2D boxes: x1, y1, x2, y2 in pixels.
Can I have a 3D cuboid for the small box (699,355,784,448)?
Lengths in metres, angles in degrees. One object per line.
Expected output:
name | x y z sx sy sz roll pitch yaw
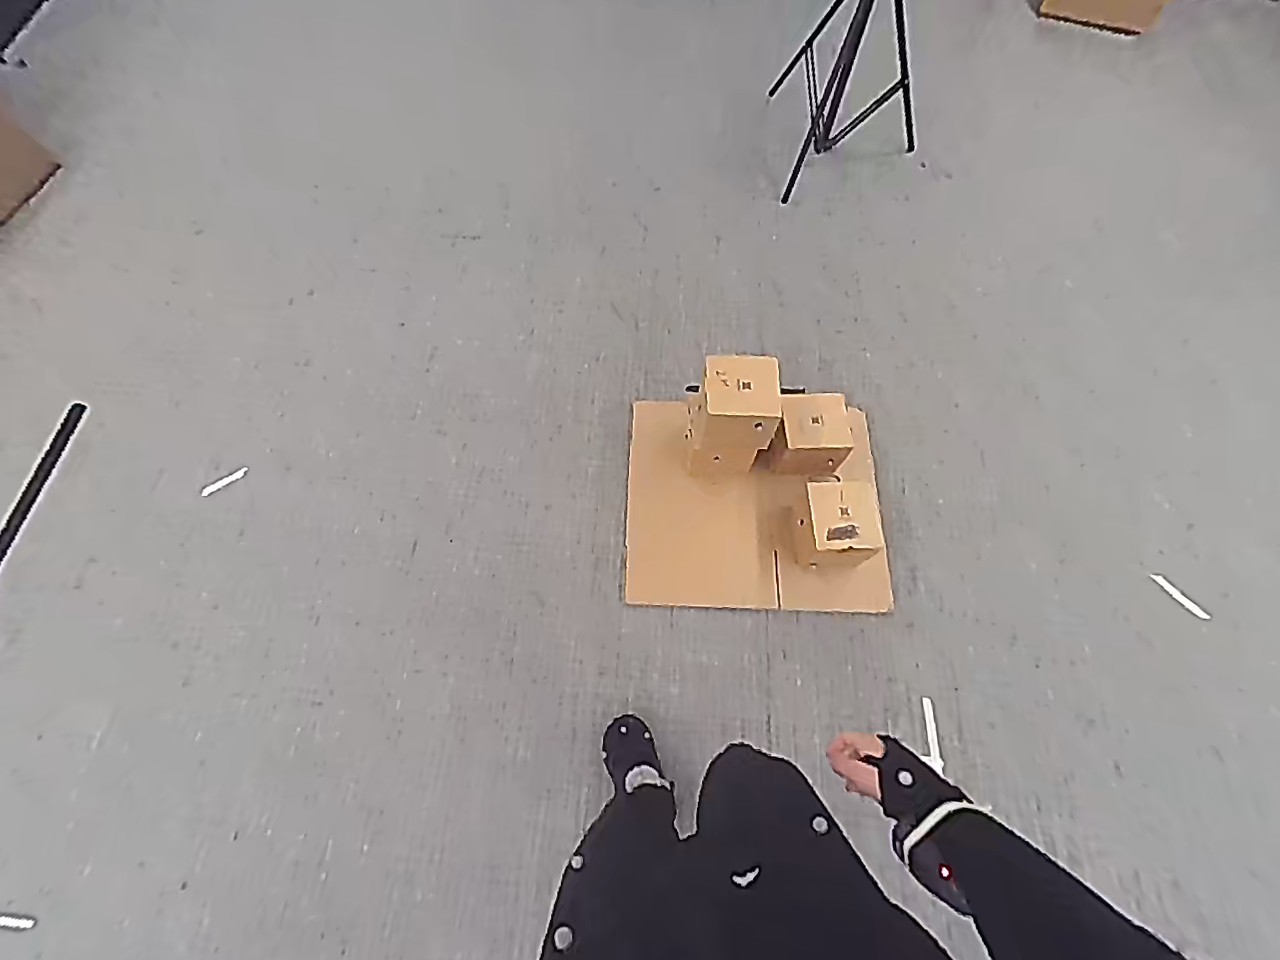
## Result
small box | 0.243 -0.188 1.328 0.179 0.176 0.168 2 66 1

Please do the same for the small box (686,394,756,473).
small box | 0.219 -0.125 1.481 0.179 0.176 0.168 -2 68 0

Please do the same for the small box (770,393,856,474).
small box | 0.464 -0.124 1.485 0.179 0.176 0.168 -2 66 0

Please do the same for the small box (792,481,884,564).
small box | 0.497 0.114 1.382 0.168 0.176 0.179 -1 67 -1
